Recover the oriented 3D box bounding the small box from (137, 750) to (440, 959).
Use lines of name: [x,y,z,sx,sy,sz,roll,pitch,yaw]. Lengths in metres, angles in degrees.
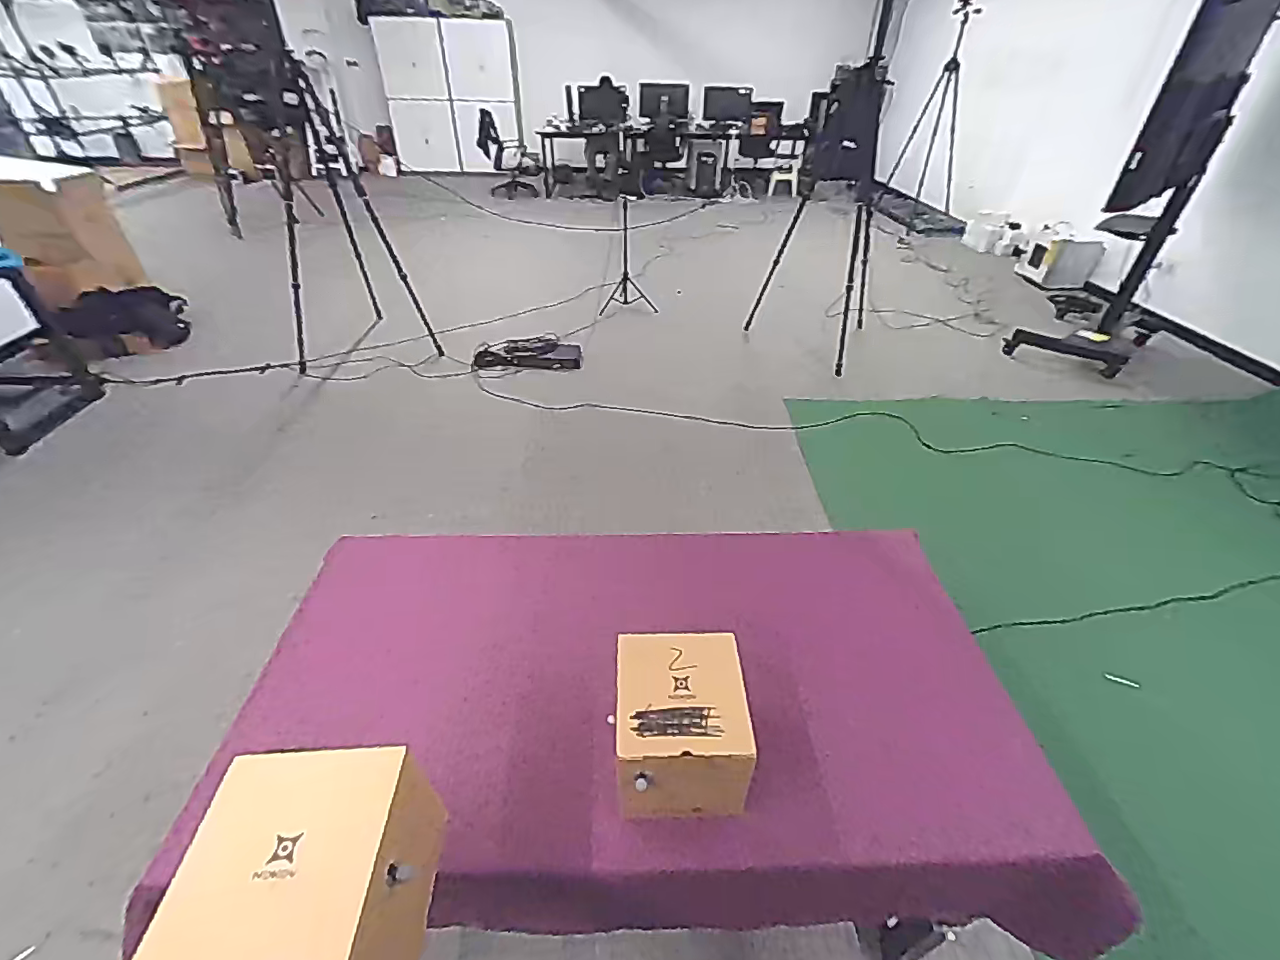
small box: [-0.304,0.385,0.516,0.168,0.176,0.179,-1,40,-2]
